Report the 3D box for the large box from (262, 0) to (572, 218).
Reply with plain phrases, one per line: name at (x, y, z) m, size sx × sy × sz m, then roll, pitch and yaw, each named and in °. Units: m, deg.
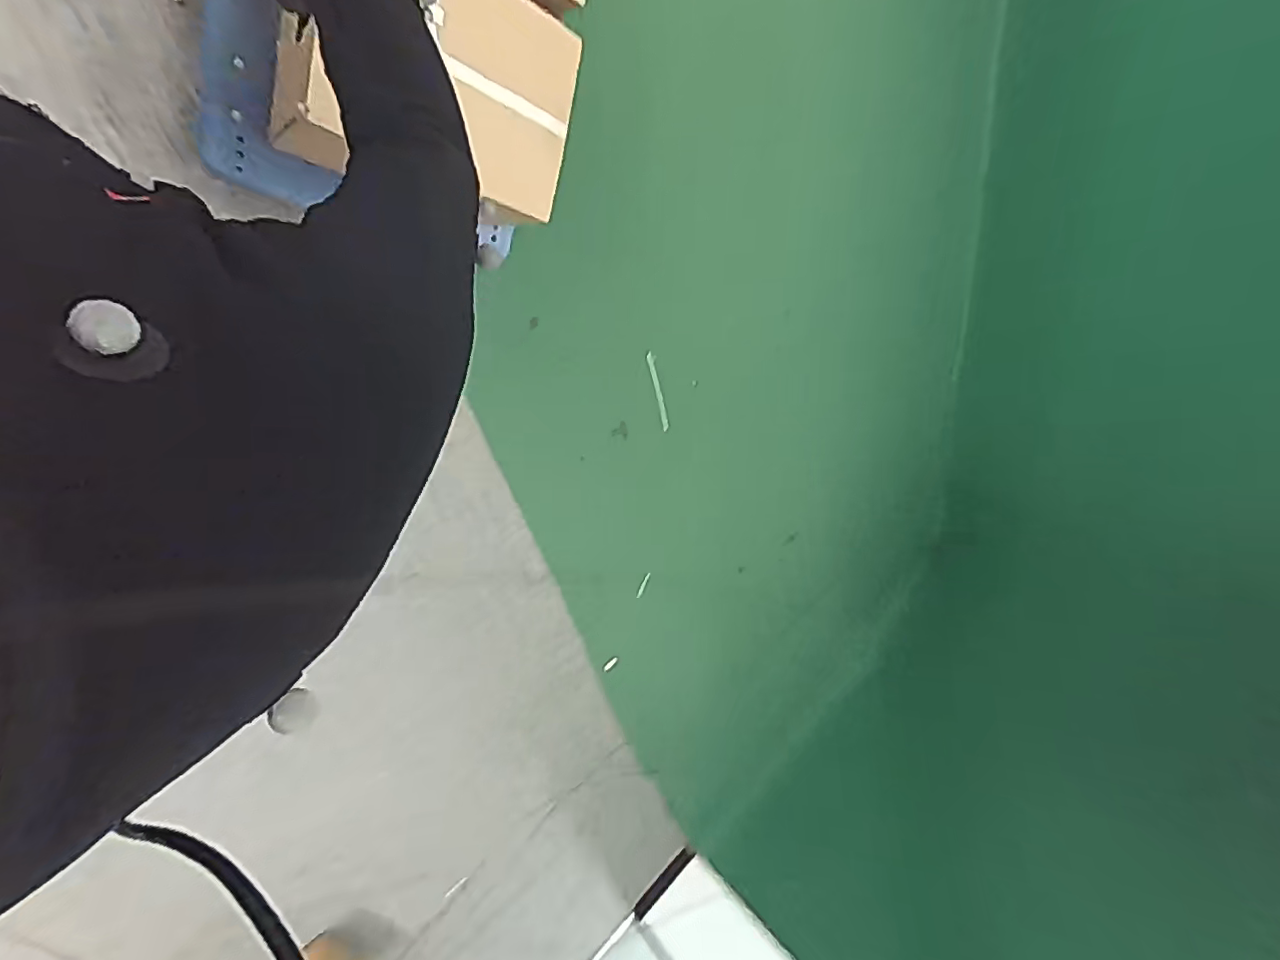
large box at (-0.391, -0.684, 0.946) m, size 0.408 × 0.320 × 0.320 m, roll 3°, pitch 106°, yaw -42°
